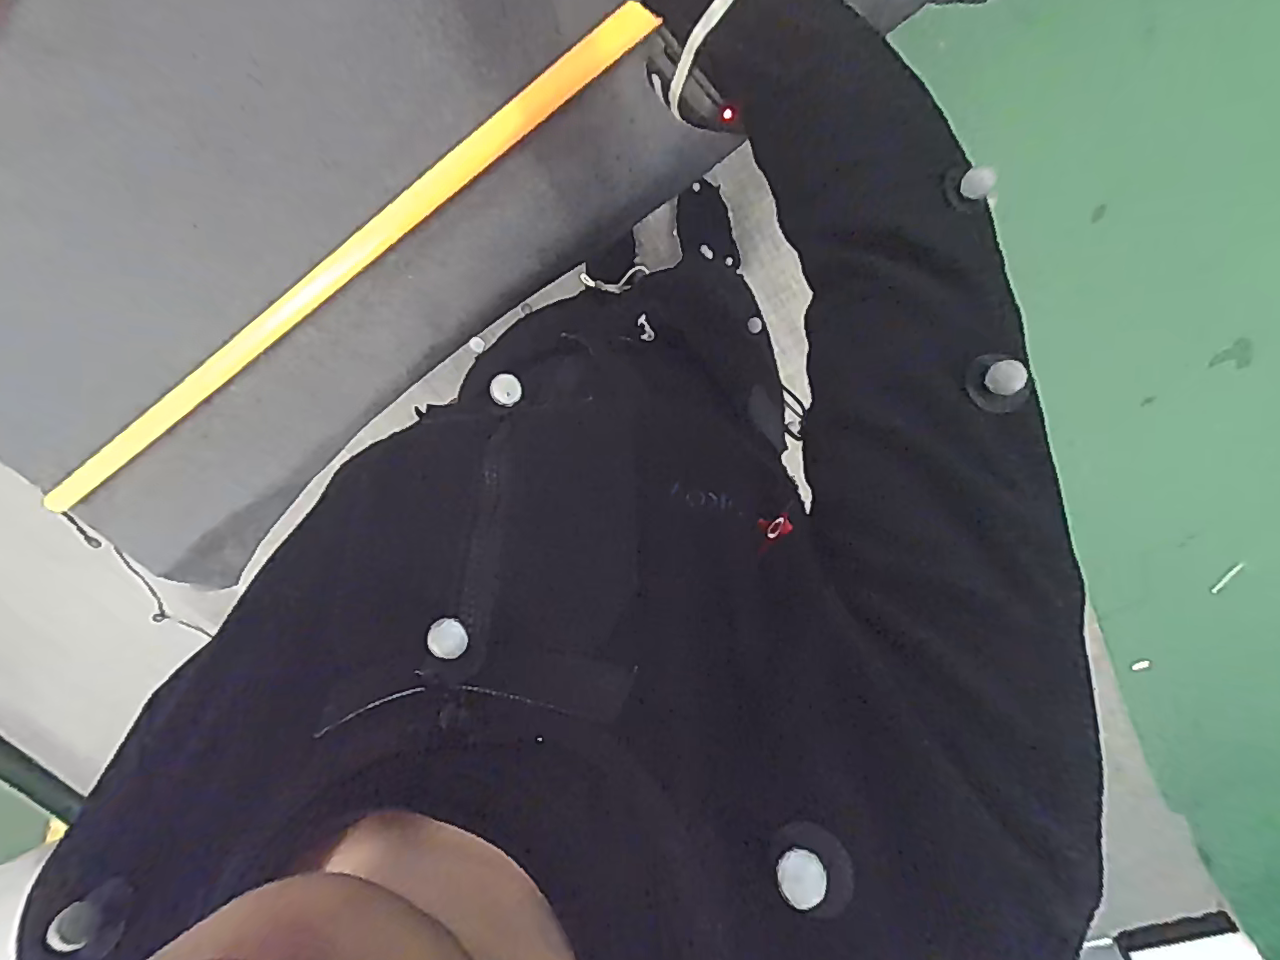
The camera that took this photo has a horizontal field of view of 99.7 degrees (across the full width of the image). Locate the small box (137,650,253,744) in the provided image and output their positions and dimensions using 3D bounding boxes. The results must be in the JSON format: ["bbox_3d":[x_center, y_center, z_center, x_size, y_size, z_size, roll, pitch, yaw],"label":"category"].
[{"bbox_3d":[-1.315,0.644,1.614,0.168,0.176,0.179,-35,111,19],"label":"small box"}]
